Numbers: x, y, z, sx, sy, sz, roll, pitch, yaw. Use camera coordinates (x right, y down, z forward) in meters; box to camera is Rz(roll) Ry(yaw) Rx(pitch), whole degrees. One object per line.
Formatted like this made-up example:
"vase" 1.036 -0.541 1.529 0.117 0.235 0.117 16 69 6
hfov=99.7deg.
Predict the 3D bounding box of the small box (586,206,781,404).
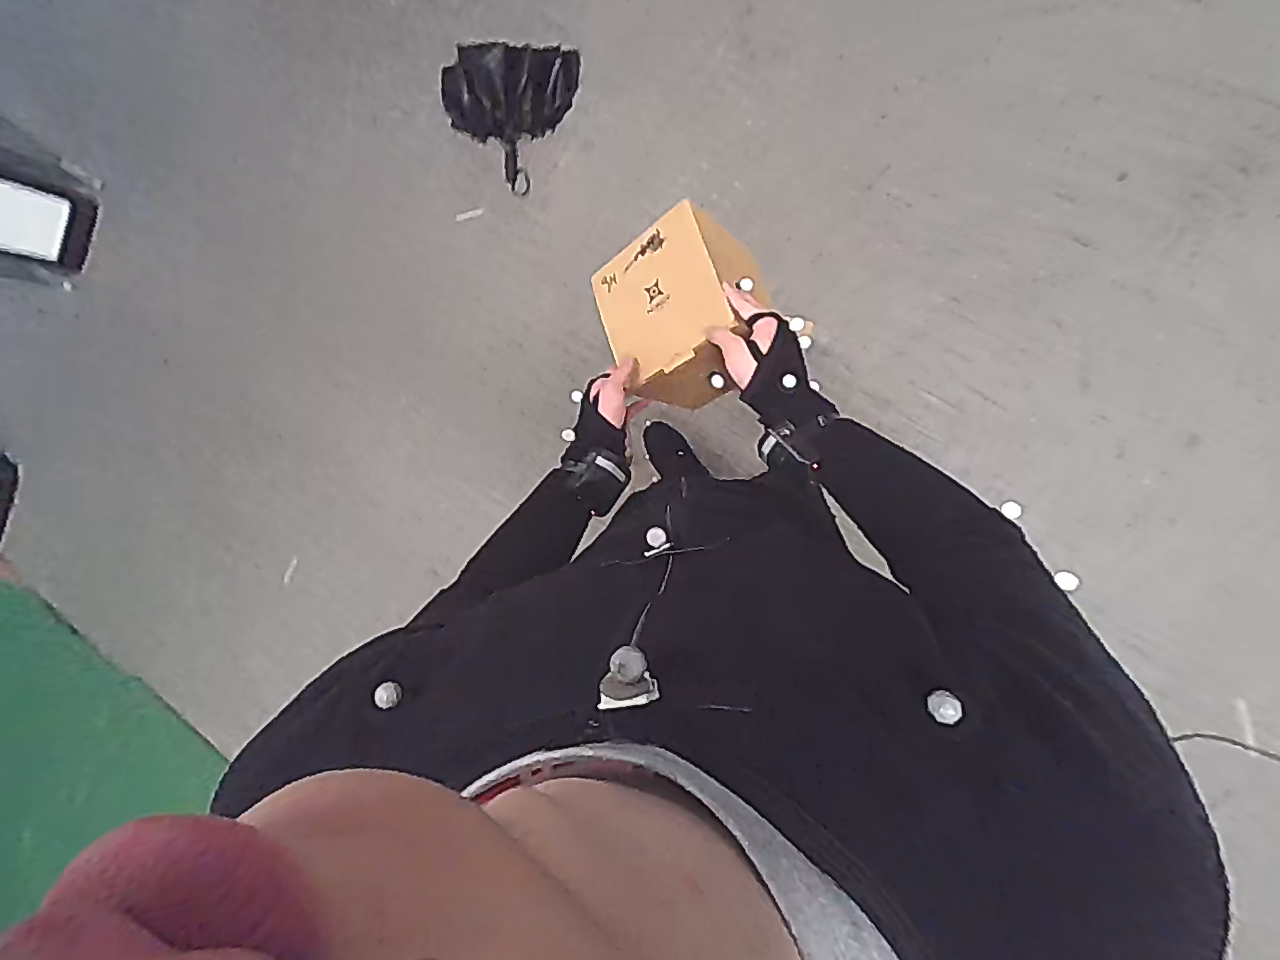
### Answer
"small box" 0.062 -0.211 0.715 0.168 0.176 0.179 -27 73 34

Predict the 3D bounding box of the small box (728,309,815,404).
"small box" 0.285 -0.282 1.237 0.168 0.176 0.179 21 102 13
